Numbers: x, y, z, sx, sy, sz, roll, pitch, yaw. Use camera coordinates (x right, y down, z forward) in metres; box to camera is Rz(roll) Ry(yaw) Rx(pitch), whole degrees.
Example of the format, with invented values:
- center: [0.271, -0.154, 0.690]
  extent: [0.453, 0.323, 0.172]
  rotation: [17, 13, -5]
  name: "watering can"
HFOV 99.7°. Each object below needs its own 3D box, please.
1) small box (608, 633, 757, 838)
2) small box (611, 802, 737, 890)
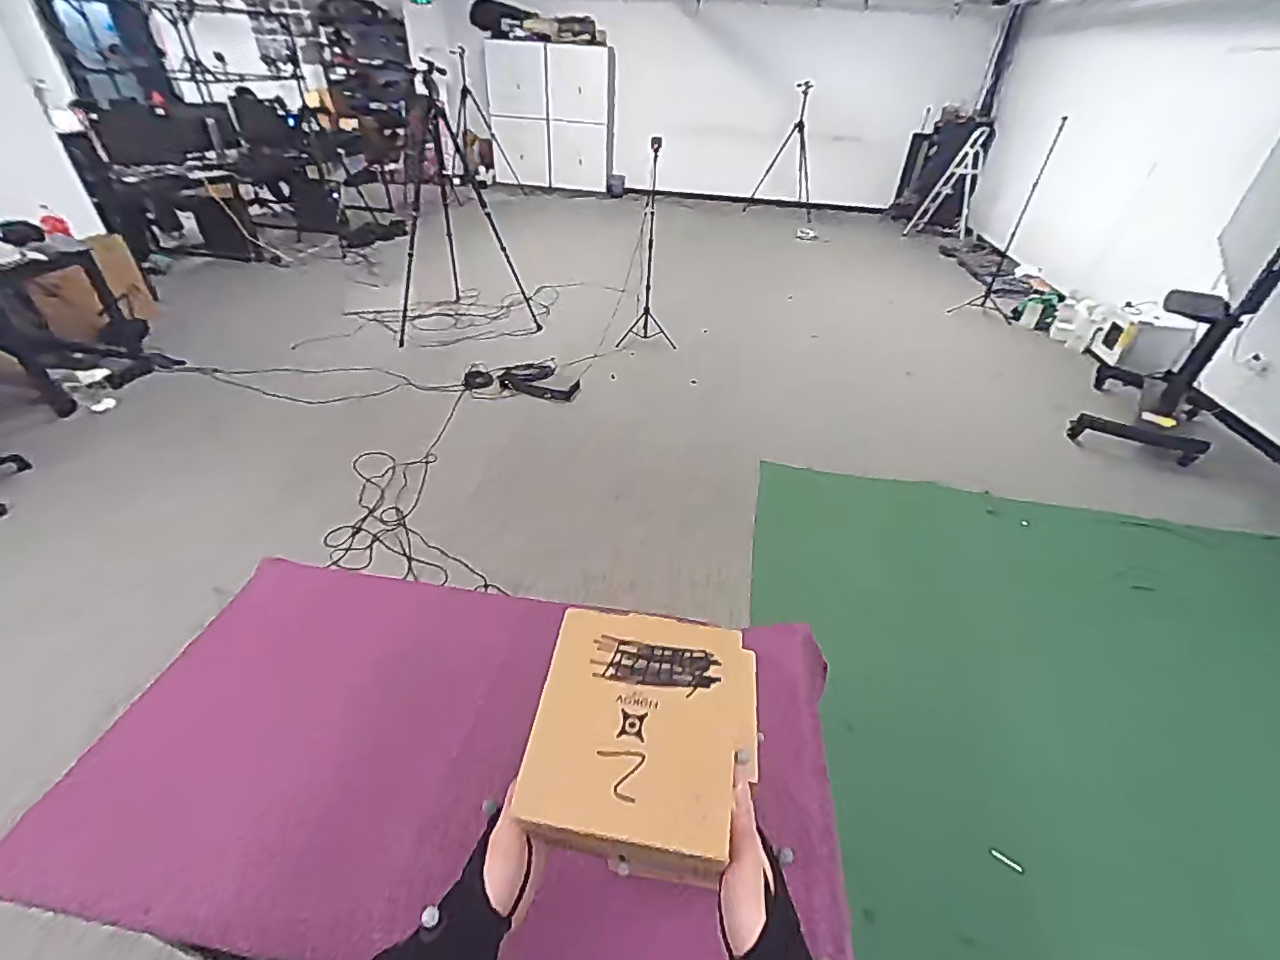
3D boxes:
- center: [0.057, 0.332, 0.704]
  extent: [0.168, 0.176, 0.179]
  rotation: [8, 37, 6]
  name: "small box"
- center: [0.051, 0.465, 0.803]
  extent: [0.168, 0.176, 0.179]
  rotation: [6, 36, 5]
  name: "small box"
